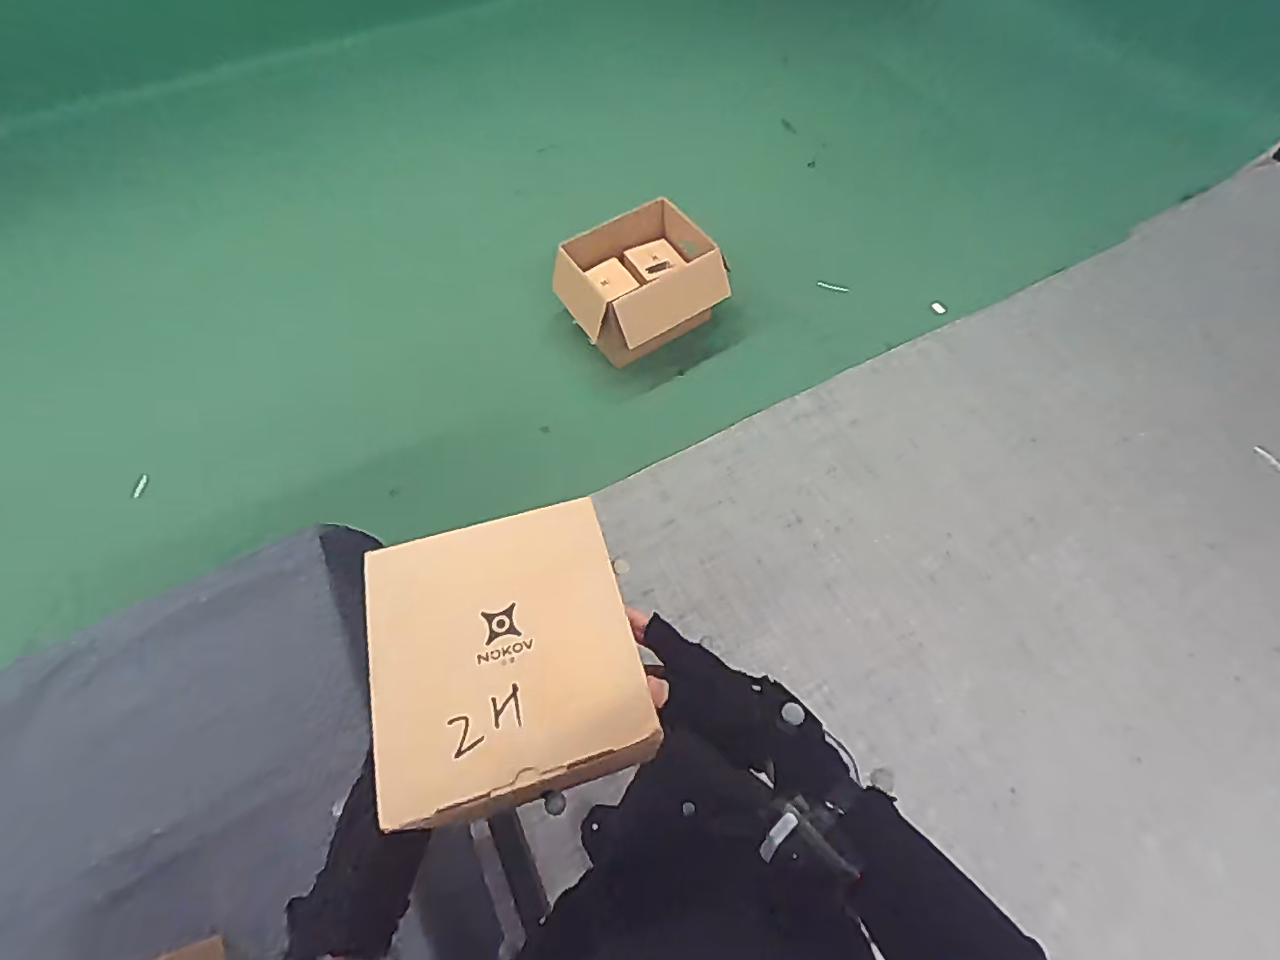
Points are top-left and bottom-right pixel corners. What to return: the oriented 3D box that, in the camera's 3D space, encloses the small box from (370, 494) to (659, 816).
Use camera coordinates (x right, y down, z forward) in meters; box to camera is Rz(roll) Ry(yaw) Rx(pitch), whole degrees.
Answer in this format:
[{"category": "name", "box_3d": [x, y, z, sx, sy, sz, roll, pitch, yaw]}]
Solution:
[{"category": "small box", "box_3d": [-0.091, 0.140, 0.419, 0.168, 0.176, 0.179, -14, 60, -9]}]
